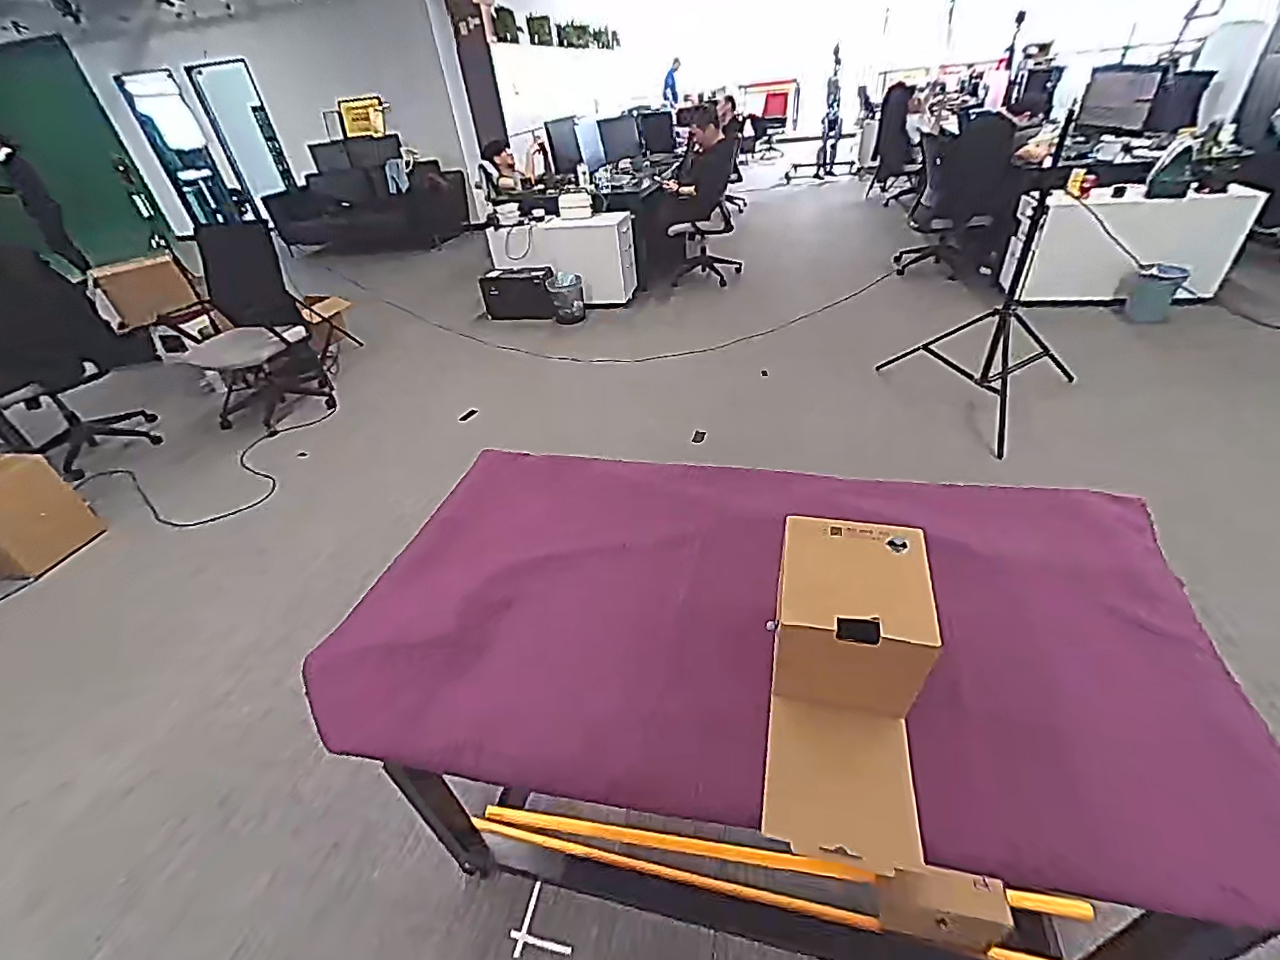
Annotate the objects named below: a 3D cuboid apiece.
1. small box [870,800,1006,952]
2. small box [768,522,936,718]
[{"bbox_3d":[0.523,0.718,0.983,0.179,0.176,0.168,3,38,13],"label":"small box"},{"bbox_3d":[0.257,0.174,0.694,0.168,0.179,0.176,5,45,14],"label":"small box"}]
